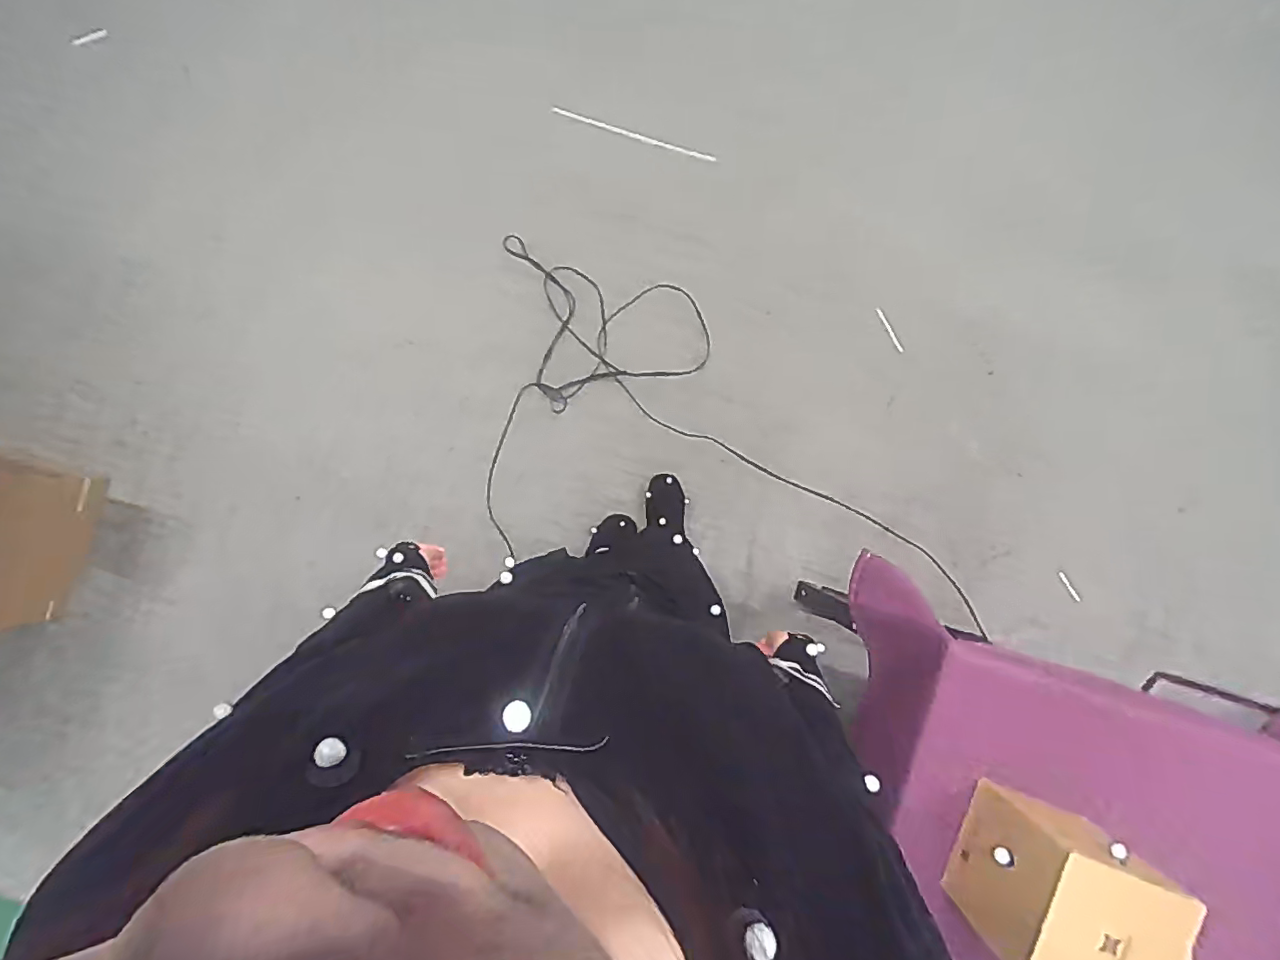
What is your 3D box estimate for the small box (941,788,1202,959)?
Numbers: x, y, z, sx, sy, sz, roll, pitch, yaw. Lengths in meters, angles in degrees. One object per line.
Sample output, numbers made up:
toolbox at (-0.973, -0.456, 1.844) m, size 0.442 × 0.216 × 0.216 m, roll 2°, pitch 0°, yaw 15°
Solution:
small box at (0.531, 0.535, 0.694) m, size 0.179 × 0.176 × 0.168 m, roll 23°, pitch 88°, yaw -1°
